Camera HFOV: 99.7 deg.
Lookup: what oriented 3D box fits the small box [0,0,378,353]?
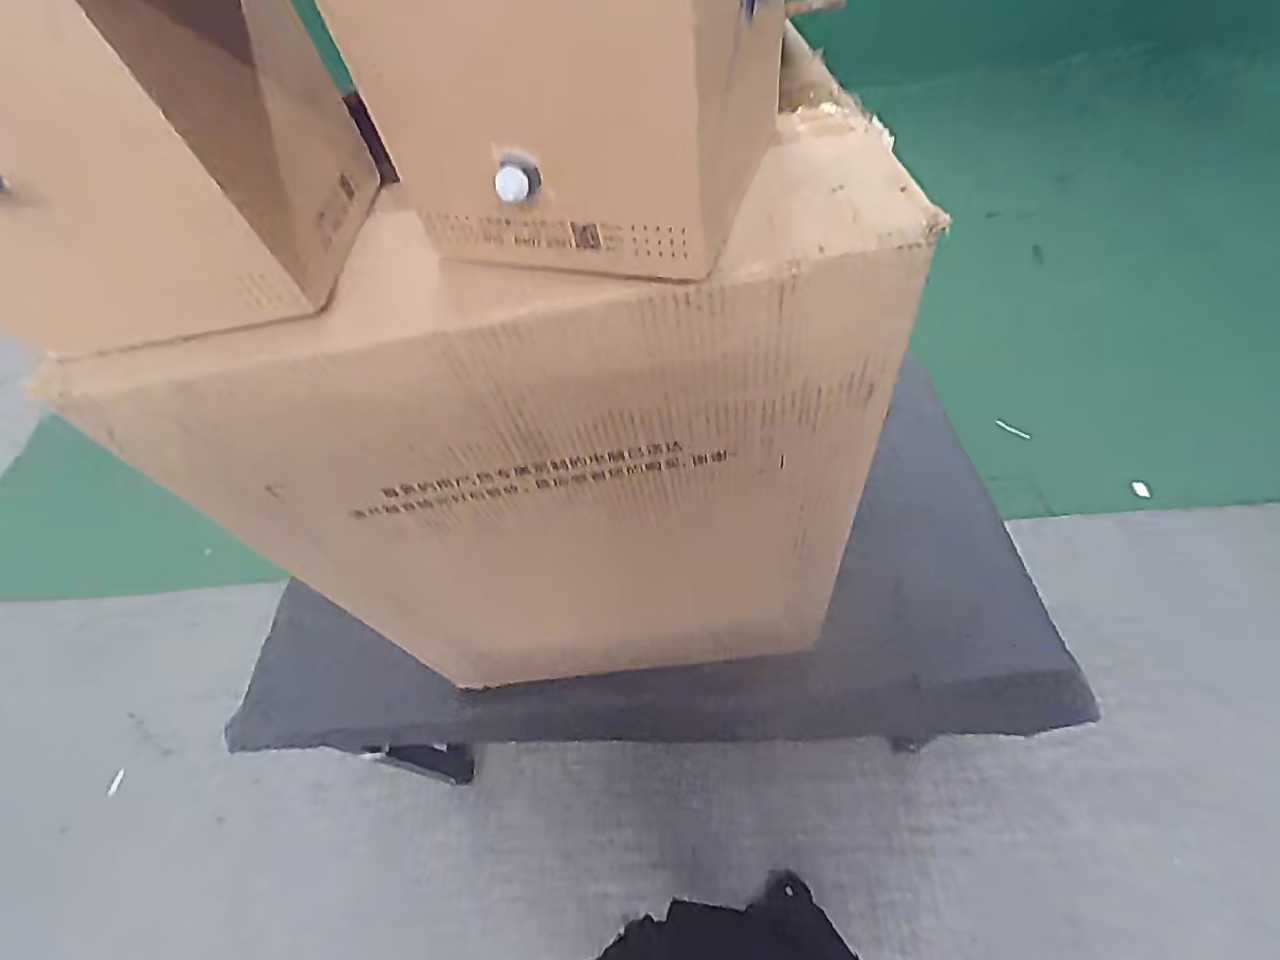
[{"bbox_3d":[-0.288,-0.192,0.304,0.179,0.176,0.168,-9,55,6],"label":"small box"}]

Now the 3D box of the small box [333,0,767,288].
[{"bbox_3d":[-0.031,-0.229,0.282,0.168,0.176,0.179,12,58,18],"label":"small box"}]
